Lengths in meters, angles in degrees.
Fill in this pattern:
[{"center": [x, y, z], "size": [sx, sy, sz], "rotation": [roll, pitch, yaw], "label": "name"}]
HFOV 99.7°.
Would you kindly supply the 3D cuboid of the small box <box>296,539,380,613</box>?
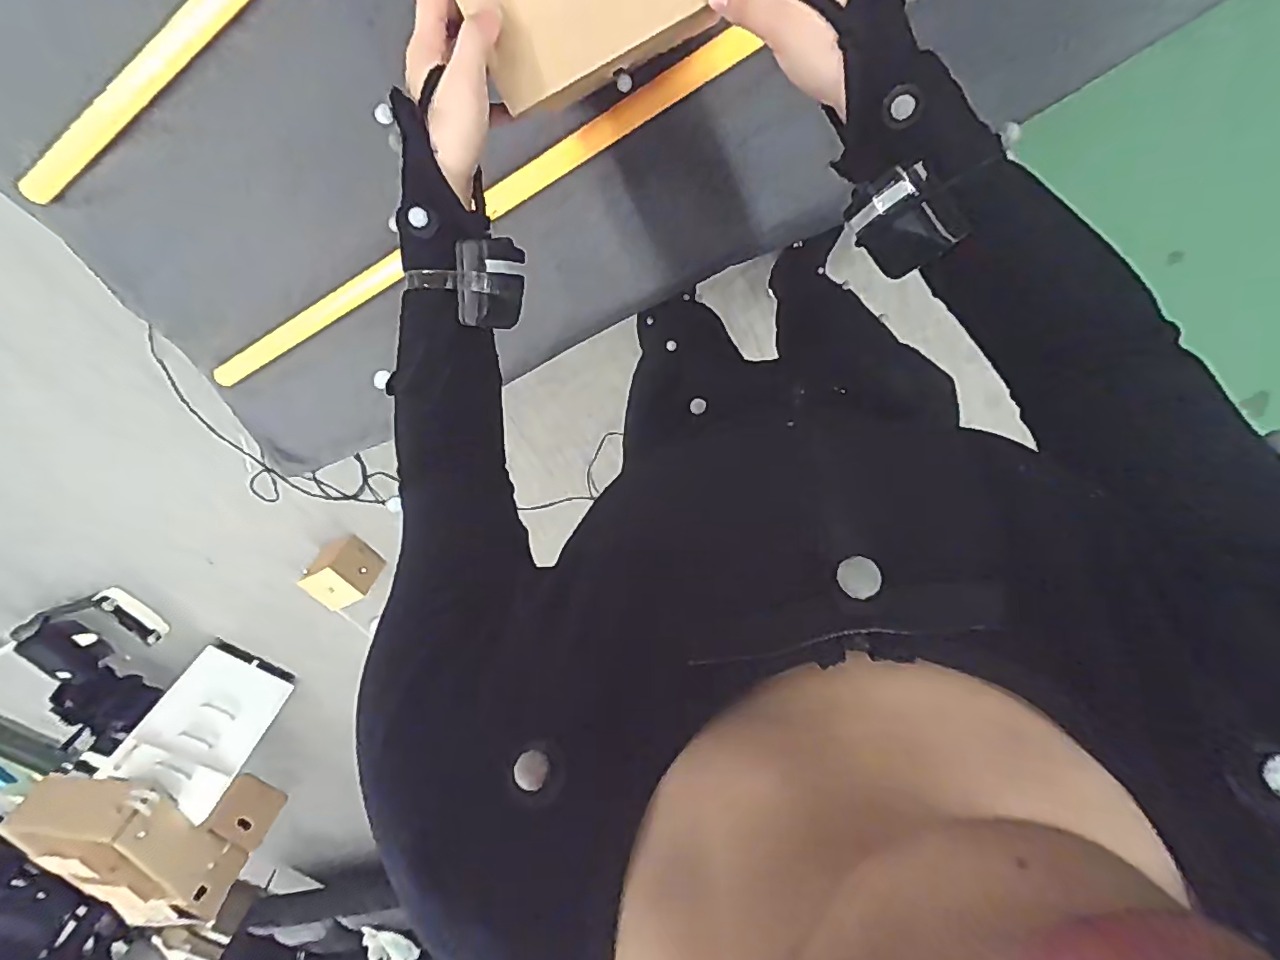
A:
[{"center": [-1.058, 0.338, 1.920], "size": [0.179, 0.176, 0.168], "rotation": [-24, 120, 22], "label": "small box"}]
